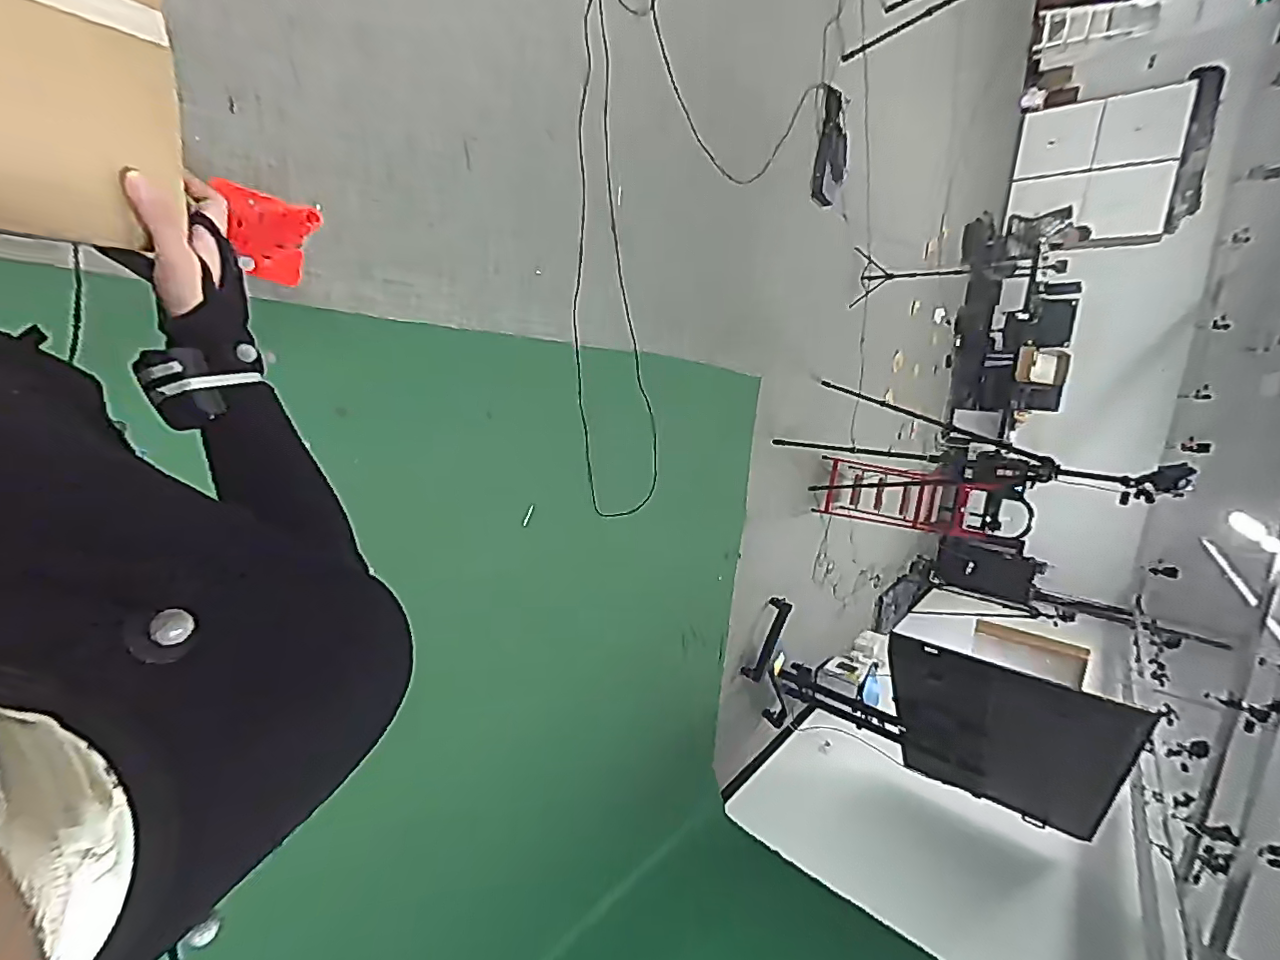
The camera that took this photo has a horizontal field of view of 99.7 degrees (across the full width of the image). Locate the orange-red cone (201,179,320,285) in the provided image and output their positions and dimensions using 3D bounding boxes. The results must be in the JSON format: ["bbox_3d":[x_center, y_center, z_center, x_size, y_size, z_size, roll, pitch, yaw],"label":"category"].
[{"bbox_3d":[-0.812,-0.569,1.221,0.199,0.360,0.198,4,98,-53],"label":"orange-red cone"}]
